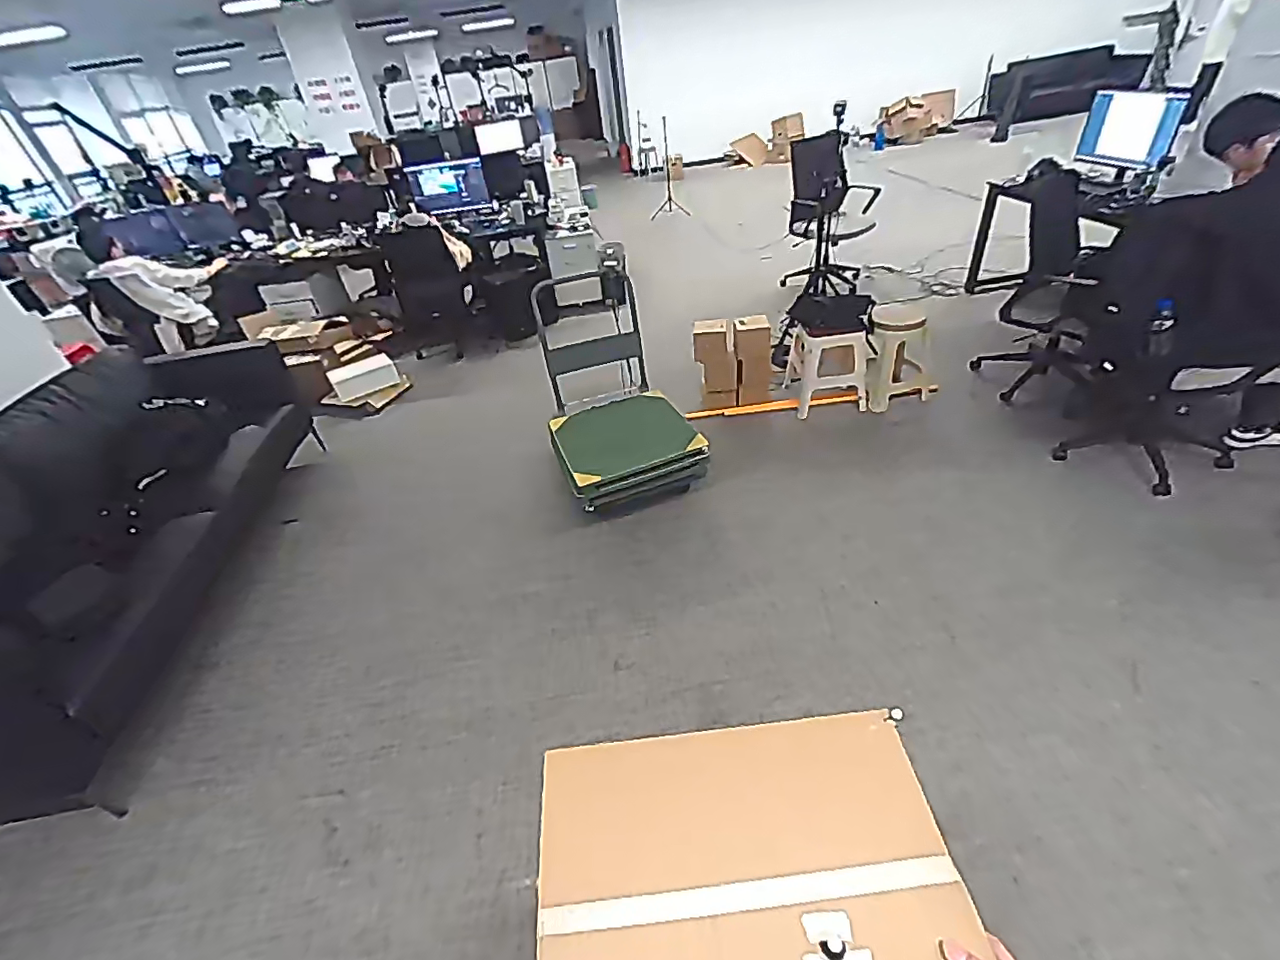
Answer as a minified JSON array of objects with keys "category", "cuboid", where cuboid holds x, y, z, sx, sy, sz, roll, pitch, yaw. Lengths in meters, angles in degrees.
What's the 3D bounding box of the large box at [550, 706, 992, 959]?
[{"category":"large box","cuboid":[0.119,0.506,0.630,0.408,0.320,0.320,-7,45,-1]}]
